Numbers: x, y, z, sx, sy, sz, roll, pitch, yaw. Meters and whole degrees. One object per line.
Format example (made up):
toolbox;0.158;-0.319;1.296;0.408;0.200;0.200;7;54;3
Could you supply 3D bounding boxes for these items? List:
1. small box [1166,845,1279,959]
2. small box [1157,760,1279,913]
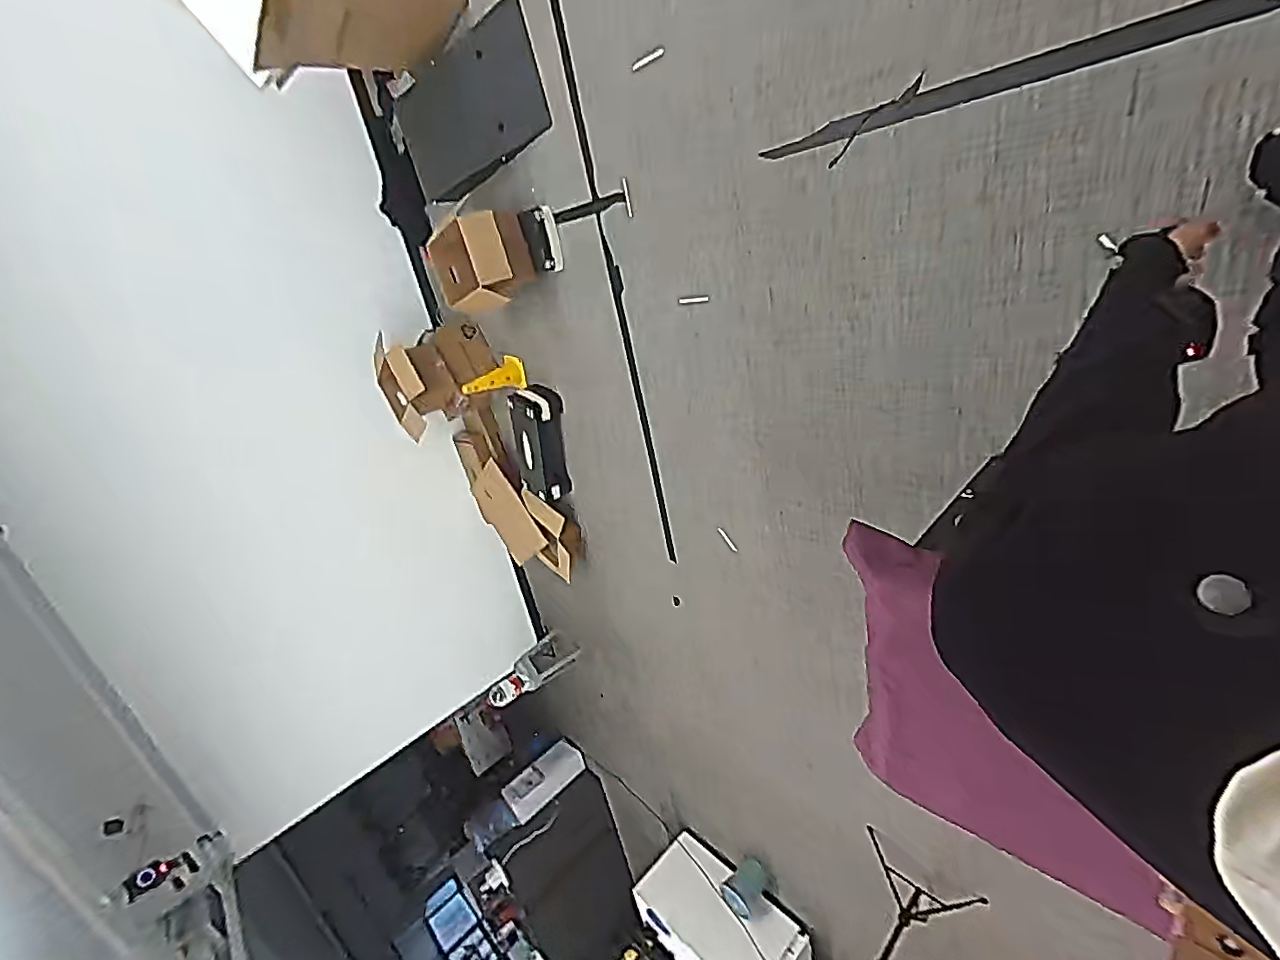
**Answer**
small box;0.743;0.582;0.628;0.179;0.176;0.168;11;122;48
small box;0.850;0.523;0.738;0.179;0.176;0.168;11;123;49
